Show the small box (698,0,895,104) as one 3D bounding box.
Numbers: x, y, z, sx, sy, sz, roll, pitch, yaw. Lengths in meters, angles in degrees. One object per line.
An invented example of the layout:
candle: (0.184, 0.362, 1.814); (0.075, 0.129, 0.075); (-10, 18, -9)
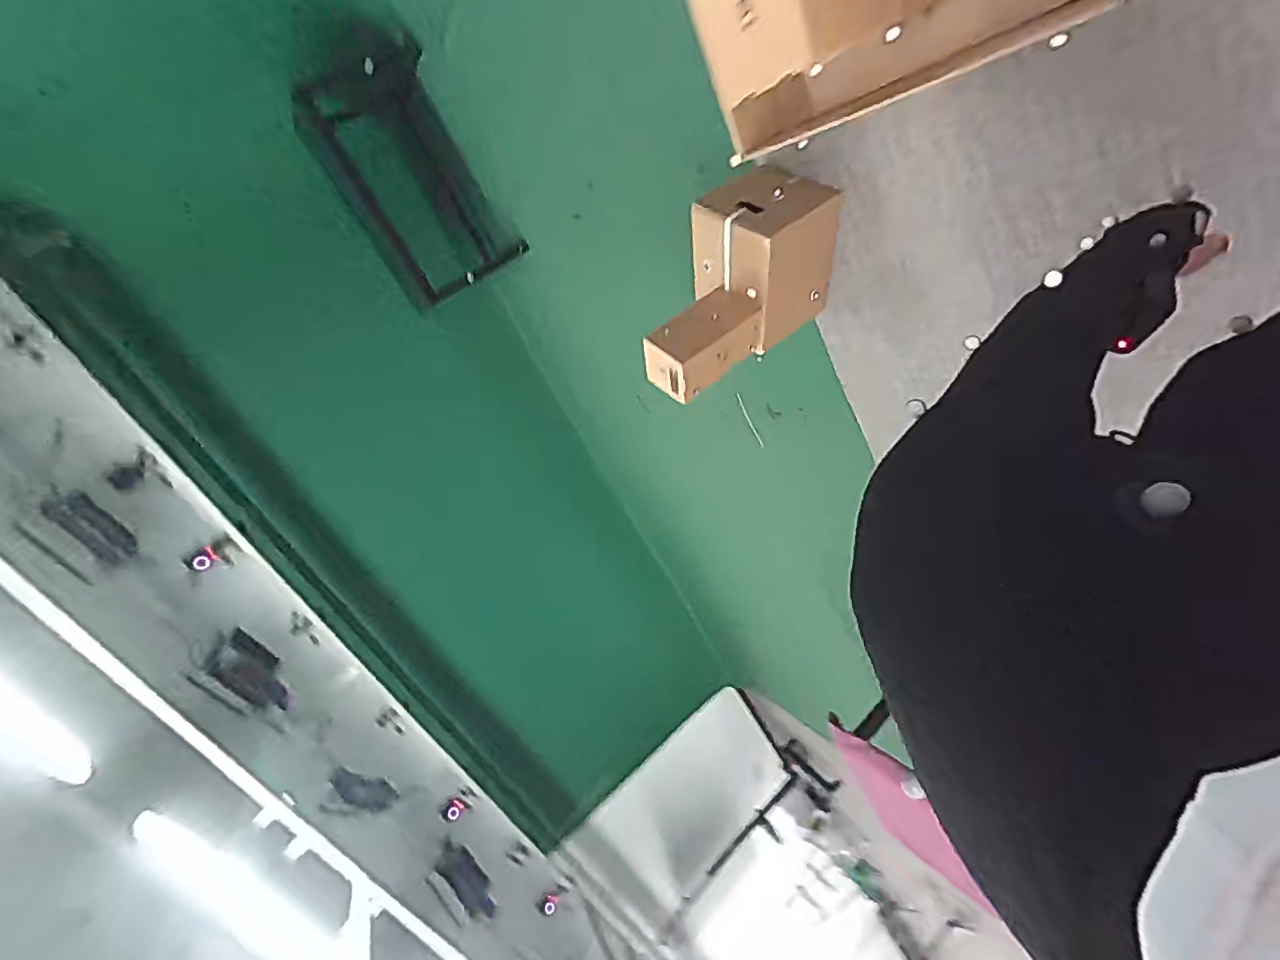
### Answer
small box: (0.199, -0.636, 0.700); (0.168, 0.176, 0.179); (25, 147, 56)

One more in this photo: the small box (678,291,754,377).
small box: (0.239, -0.467, 1.706); (0.179, 0.176, 0.168); (43, 157, 27)
